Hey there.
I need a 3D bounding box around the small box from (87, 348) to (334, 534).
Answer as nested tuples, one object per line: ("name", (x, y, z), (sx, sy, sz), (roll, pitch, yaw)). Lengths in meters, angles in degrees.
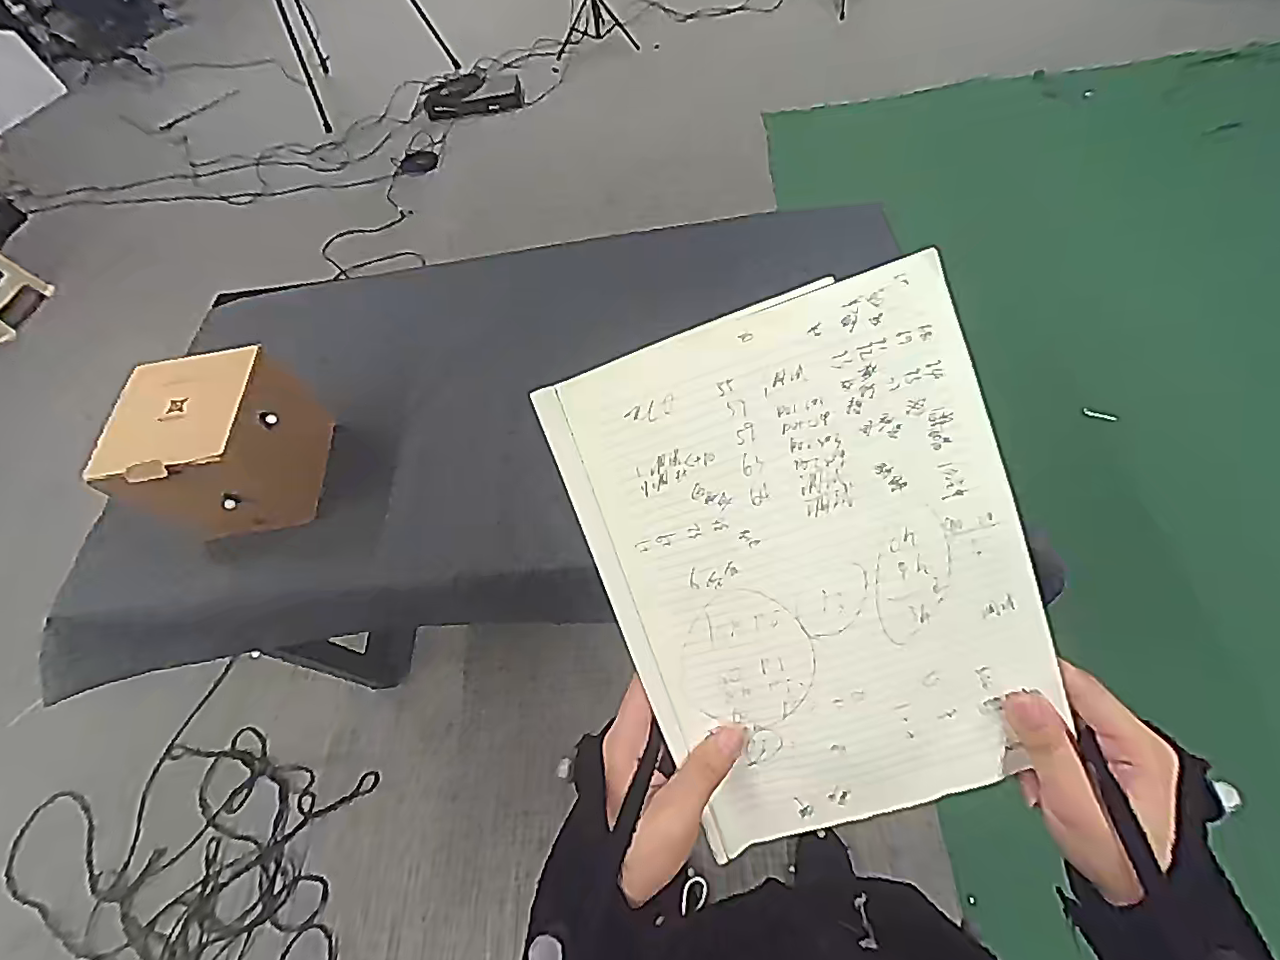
("small box", (-0.537, -0.041, 0.710), (0.168, 0.176, 0.179), (-9, 57, 2))
